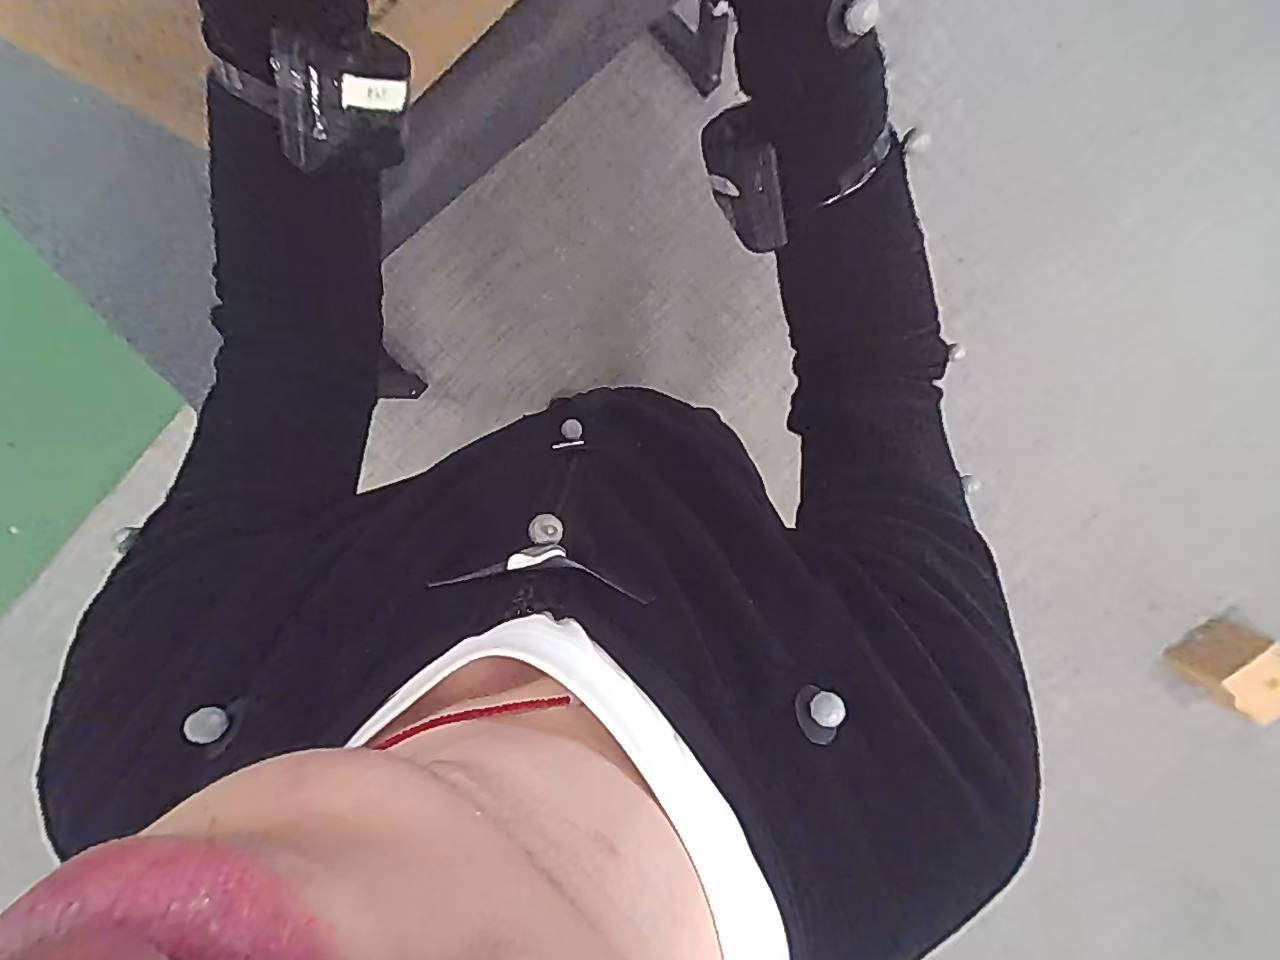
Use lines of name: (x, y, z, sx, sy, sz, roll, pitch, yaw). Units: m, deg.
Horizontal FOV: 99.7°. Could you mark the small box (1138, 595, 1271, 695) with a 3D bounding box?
small box: (1.577, 0.461, 1.532, 0.168, 0.176, 0.179, 44, 97, -5)
